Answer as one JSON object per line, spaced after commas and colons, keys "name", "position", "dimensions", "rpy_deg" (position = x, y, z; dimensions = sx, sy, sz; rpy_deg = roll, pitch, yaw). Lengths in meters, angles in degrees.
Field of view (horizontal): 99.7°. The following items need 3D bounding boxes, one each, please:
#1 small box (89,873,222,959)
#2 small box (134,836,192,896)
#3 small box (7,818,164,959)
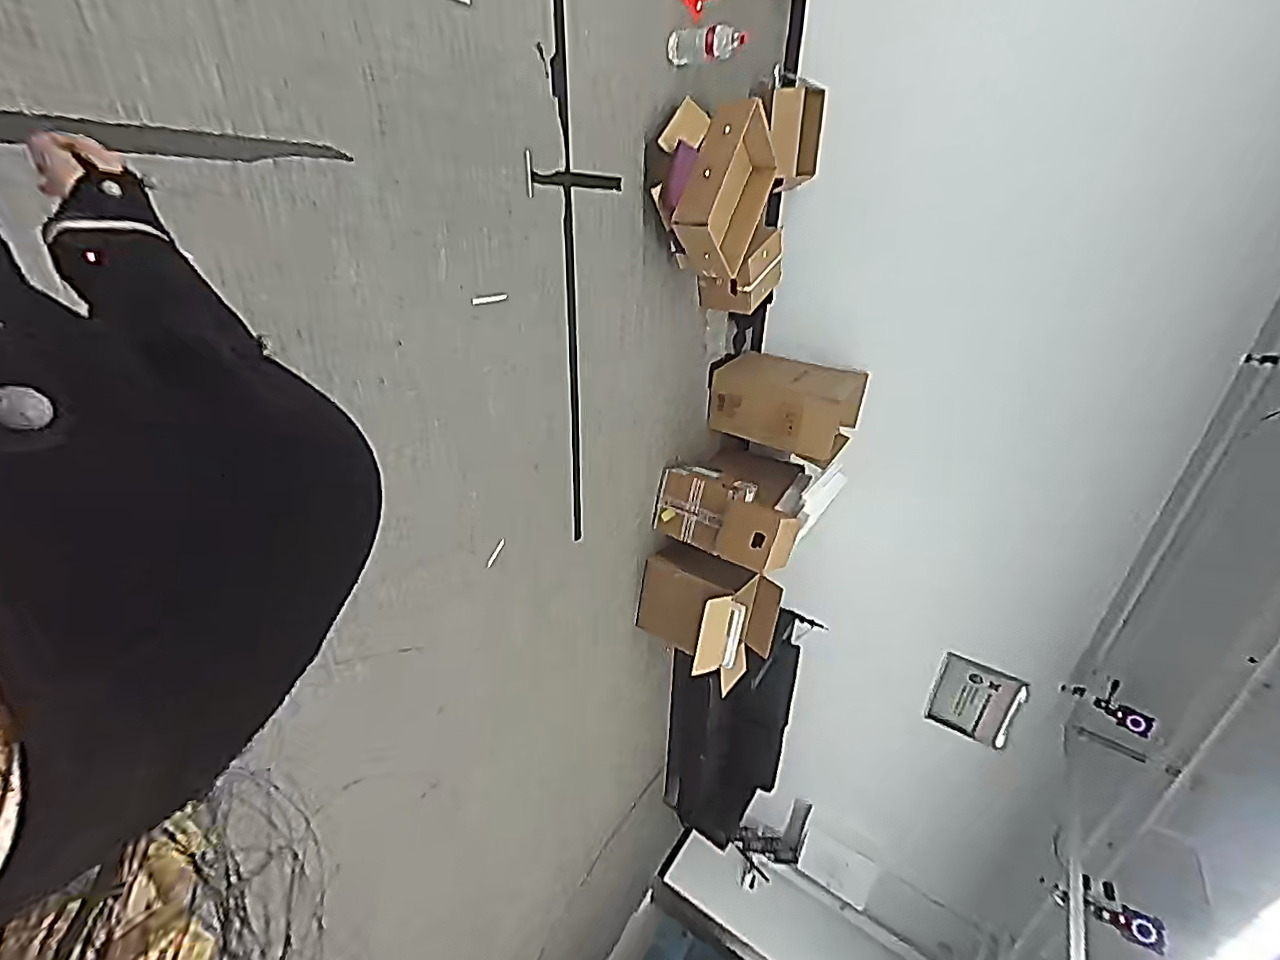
{"name": "small box", "position": [-1.142, 1.080, 1.270], "dimensions": [0.168, 0.176, 0.179], "rpy_deg": [-40, 138, -45]}
{"name": "small box", "position": [-1.281, 1.033, 1.346], "dimensions": [0.168, 0.176, 0.179], "rpy_deg": [-40, 138, -42]}
{"name": "small box", "position": [-1.151, 0.851, 1.125], "dimensions": [0.168, 0.176, 0.179], "rpy_deg": [-32, 133, -48]}
